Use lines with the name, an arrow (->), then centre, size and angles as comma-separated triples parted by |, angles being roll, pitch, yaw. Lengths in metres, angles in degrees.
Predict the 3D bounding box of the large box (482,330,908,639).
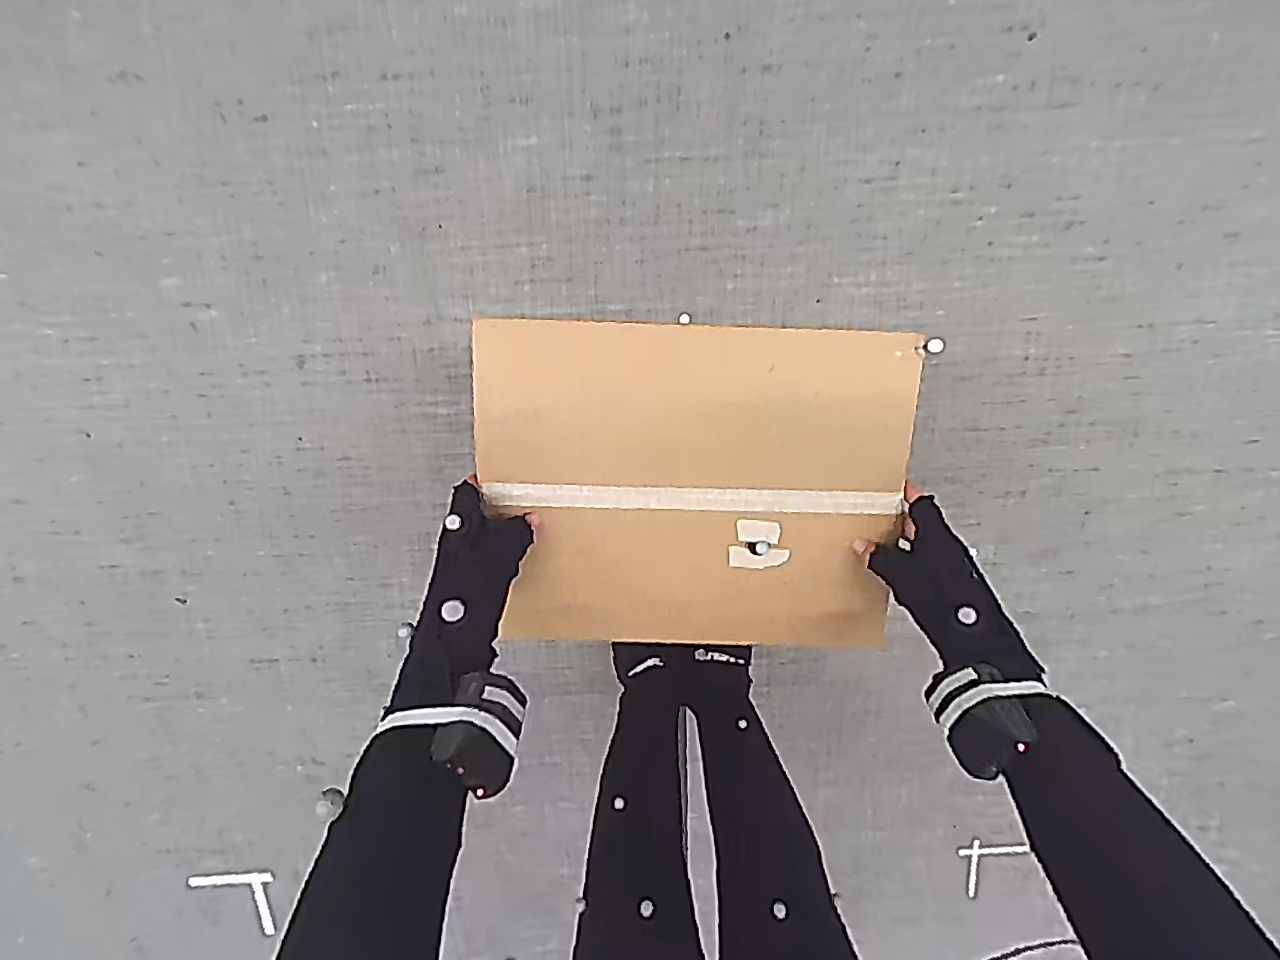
large box -> 0.047, -0.018, 0.676 | 0.408, 0.320, 0.320 | 1, 104, -1
